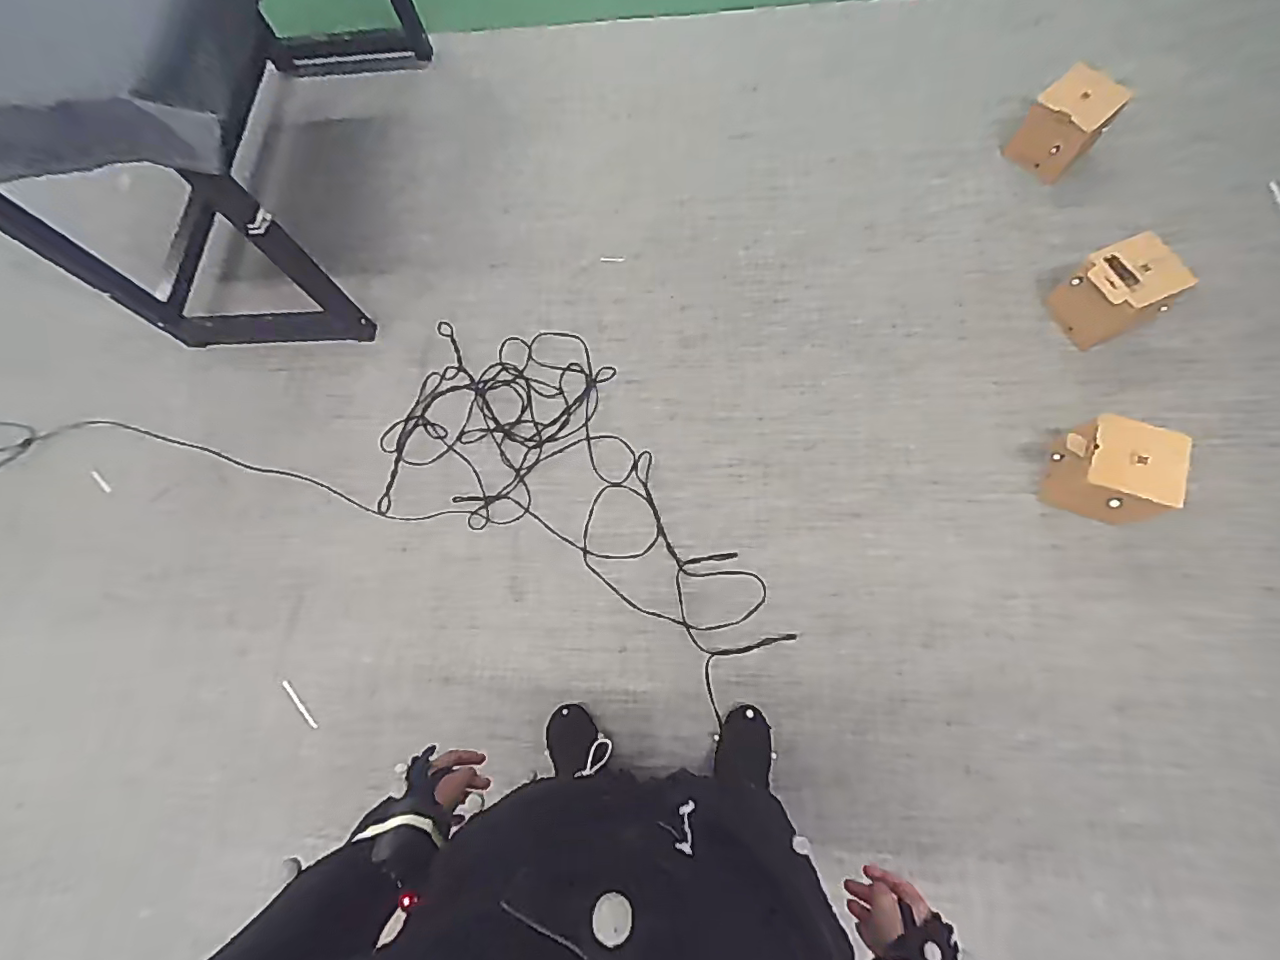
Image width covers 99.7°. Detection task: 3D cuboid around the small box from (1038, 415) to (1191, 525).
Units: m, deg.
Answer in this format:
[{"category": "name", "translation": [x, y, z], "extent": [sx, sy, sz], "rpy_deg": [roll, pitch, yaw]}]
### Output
[{"category": "small box", "translation": [1.017, -0.013, 1.170], "extent": [0.179, 0.176, 0.168], "rpy_deg": [20, 75, 11]}]

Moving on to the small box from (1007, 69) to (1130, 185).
[{"category": "small box", "translation": [1.143, -0.949, 1.464], "extent": [0.179, 0.176, 0.168], "rpy_deg": [-41, 74, -9]}]
